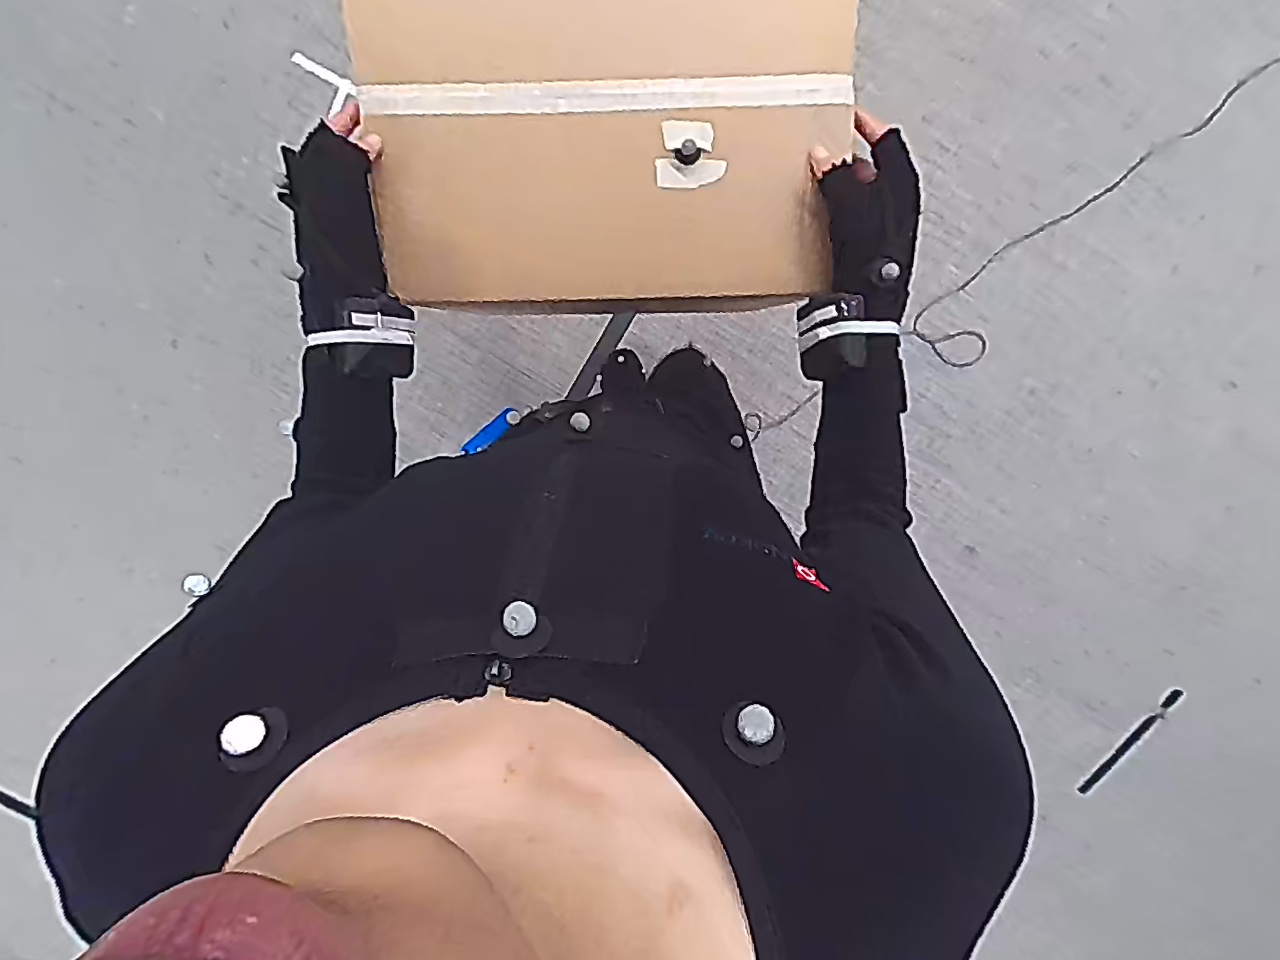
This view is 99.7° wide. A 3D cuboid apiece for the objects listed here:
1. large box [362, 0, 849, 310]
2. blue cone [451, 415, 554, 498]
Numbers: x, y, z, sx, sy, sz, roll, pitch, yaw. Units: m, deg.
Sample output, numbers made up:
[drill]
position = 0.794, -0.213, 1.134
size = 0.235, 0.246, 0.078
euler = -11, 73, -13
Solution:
[large box]
position = -0.030, -0.364, 0.599
size = 0.408, 0.320, 0.320
euler = -1, 105, -1
[blue cone]
position = -0.362, -0.034, 1.322
size = 0.192, 0.380, 0.193
euler = -37, 96, 9
